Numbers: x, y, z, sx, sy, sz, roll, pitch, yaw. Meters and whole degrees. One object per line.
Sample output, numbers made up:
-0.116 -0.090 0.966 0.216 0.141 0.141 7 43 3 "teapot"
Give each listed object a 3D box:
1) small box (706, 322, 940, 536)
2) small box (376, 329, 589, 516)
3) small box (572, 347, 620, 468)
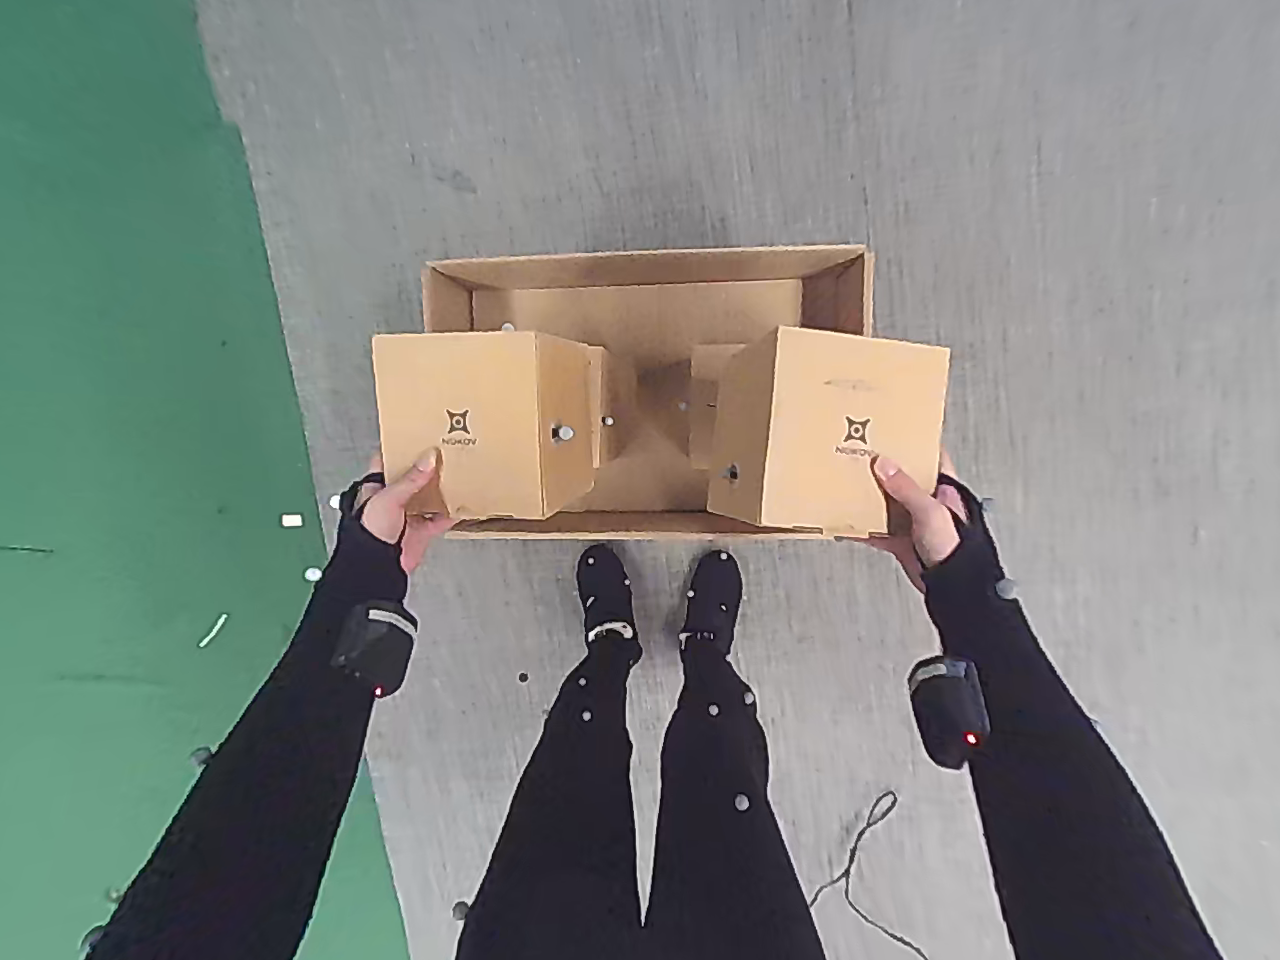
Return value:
0.171 -0.045 0.556 0.168 0.176 0.179 5 90 -8 "small box"
-0.158 -0.066 0.594 0.168 0.176 0.179 1 100 11 "small box"
-0.132 -0.107 0.818 0.179 0.176 0.168 2 96 6 "small box"
